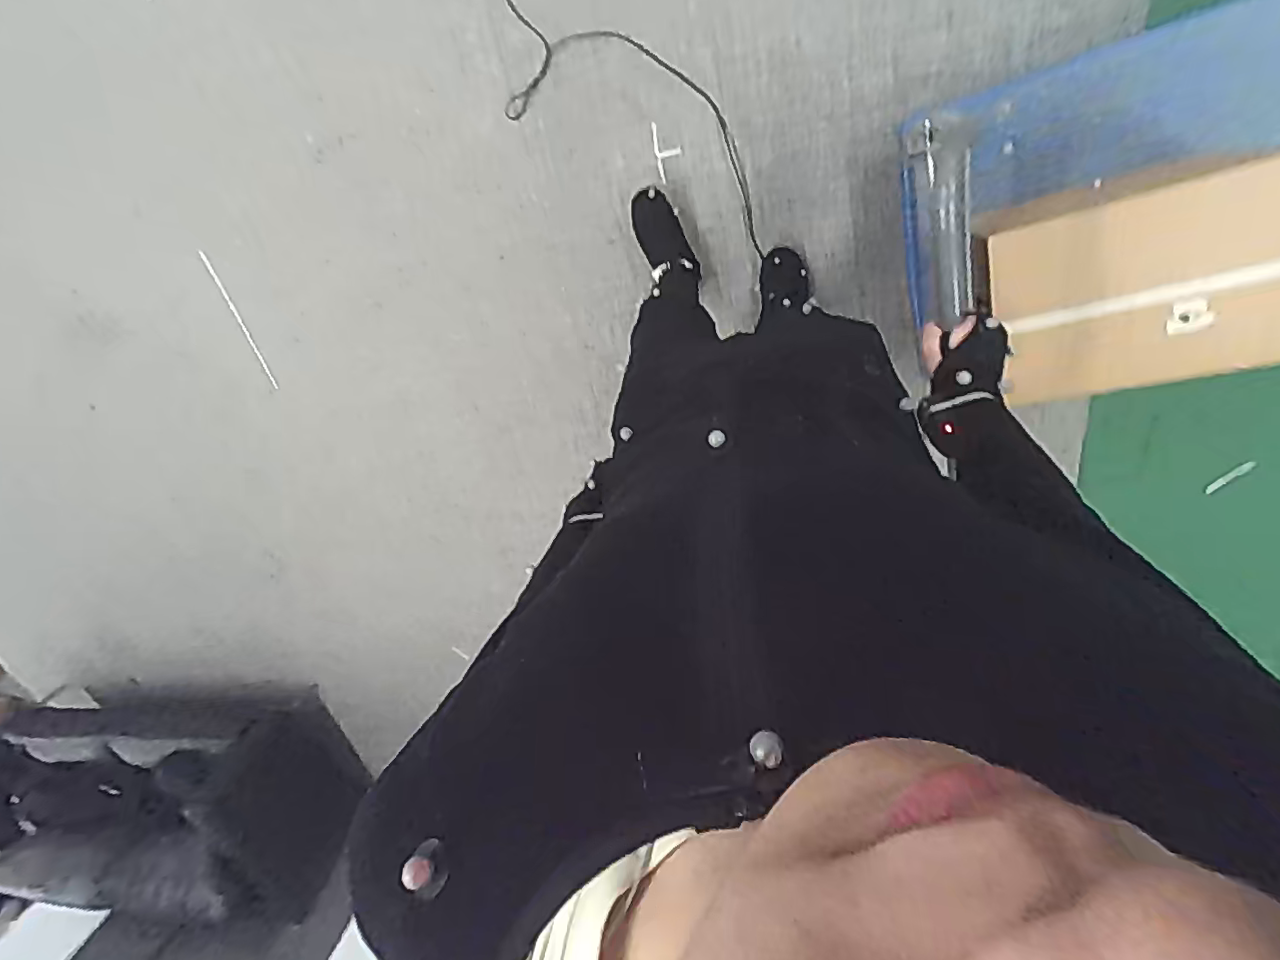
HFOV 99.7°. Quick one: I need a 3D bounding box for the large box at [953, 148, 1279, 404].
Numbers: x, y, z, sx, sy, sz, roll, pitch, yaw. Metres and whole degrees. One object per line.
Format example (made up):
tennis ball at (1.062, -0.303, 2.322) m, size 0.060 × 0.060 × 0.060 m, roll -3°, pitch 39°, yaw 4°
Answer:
large box at (0.853, -0.375, 1.012) m, size 0.408 × 0.320 × 0.320 m, roll -9°, pitch 116°, yaw 23°
